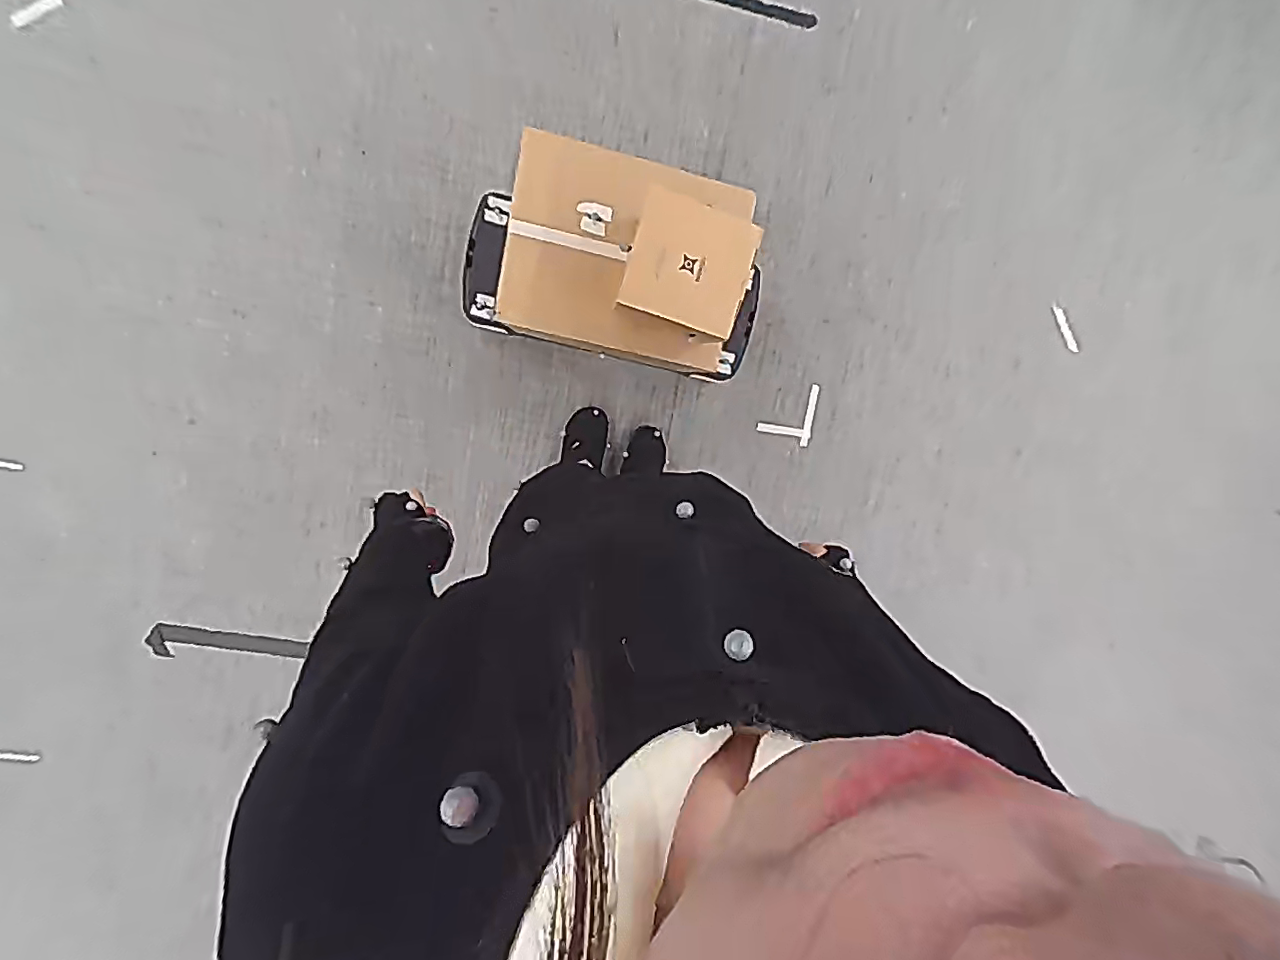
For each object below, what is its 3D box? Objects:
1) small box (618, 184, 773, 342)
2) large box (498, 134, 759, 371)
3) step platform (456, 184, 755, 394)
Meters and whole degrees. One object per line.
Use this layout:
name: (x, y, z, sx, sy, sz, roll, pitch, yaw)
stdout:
small box: (0.074, -0.321, 0.838, 0.179, 0.176, 0.168, 17, 99, -9)
large box: (-0.030, -0.404, 1.062, 0.408, 0.320, 0.320, 11, 99, -7)
step platform: (-0.076, -0.437, 1.295, 0.684, 0.204, 0.286, 17, 99, -8)
